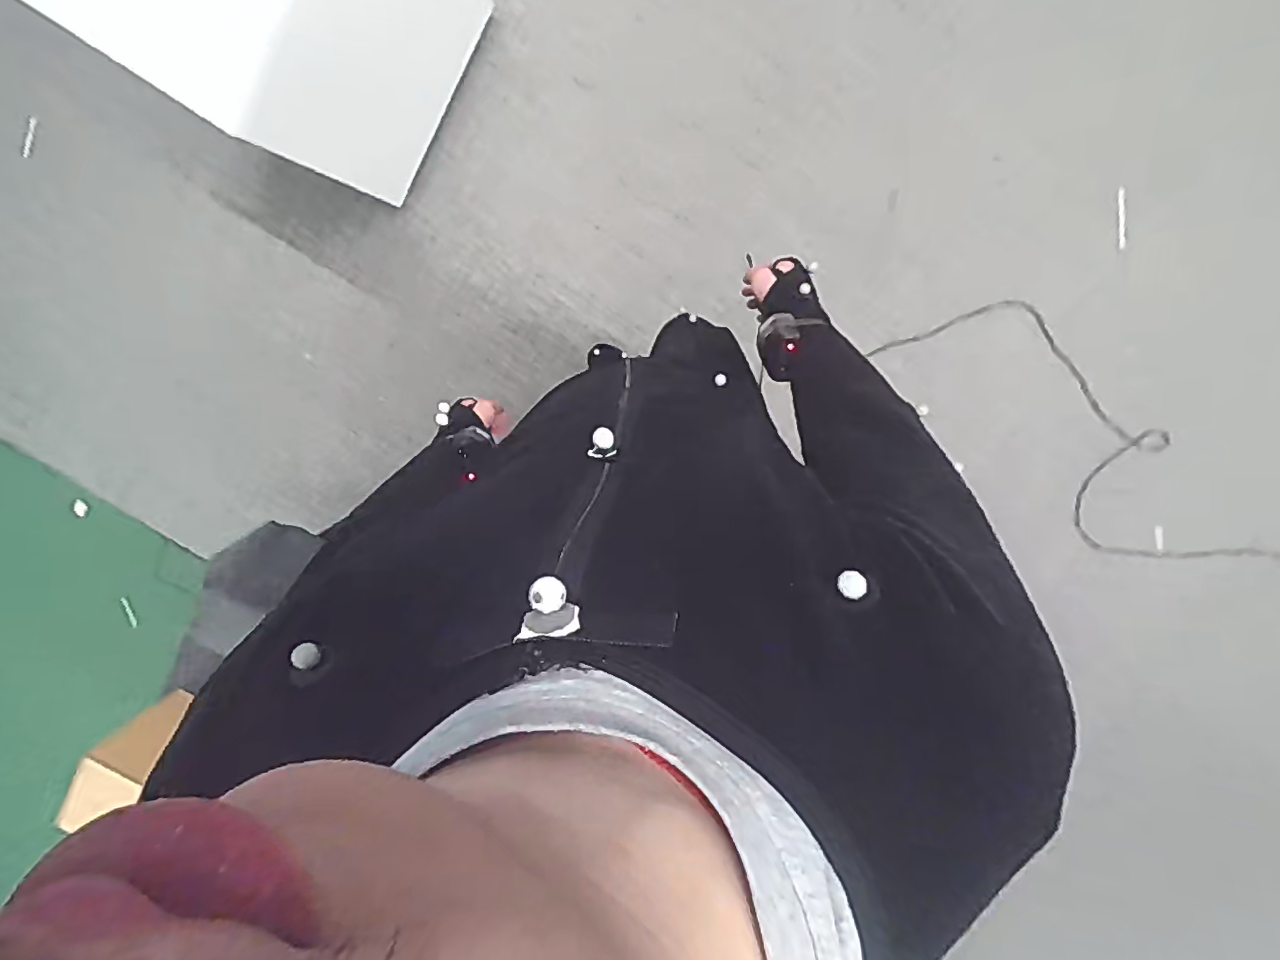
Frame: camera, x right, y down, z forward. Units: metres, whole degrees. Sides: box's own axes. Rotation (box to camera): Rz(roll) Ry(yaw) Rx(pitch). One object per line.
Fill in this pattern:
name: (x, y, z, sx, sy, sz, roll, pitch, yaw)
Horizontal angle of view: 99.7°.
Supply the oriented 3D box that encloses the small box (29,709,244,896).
small box: (-0.808, 0.517, 0.888, 0.179, 0.176, 0.168, 33, 103, -6)
